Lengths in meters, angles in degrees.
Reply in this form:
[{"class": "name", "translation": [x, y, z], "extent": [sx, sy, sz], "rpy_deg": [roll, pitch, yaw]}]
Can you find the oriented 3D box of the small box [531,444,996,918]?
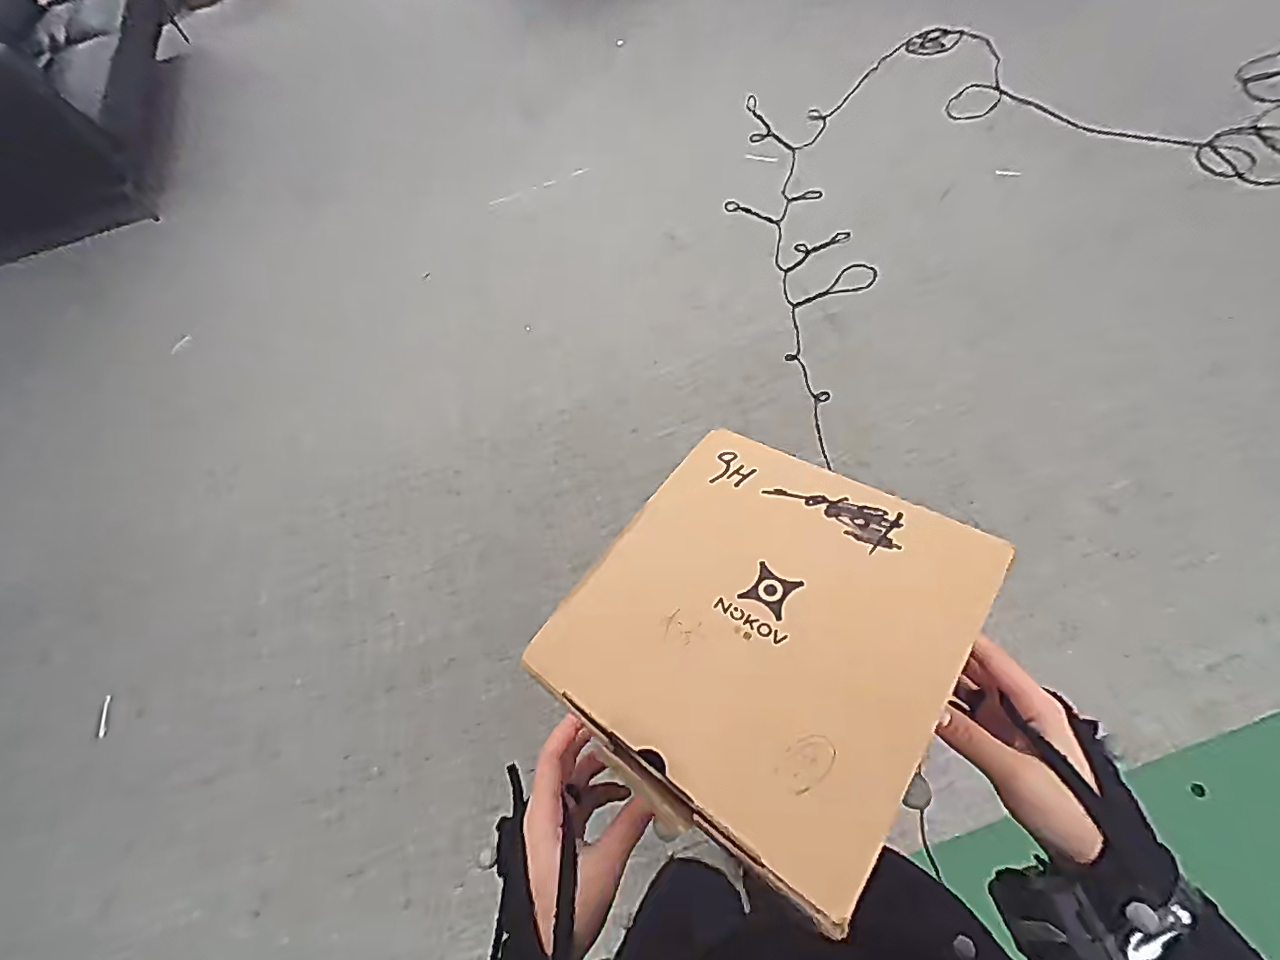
[{"class": "small box", "translation": [0.074, 0.116, 0.324], "extent": [0.168, 0.176, 0.179], "rpy_deg": [26, 62, 31]}]
